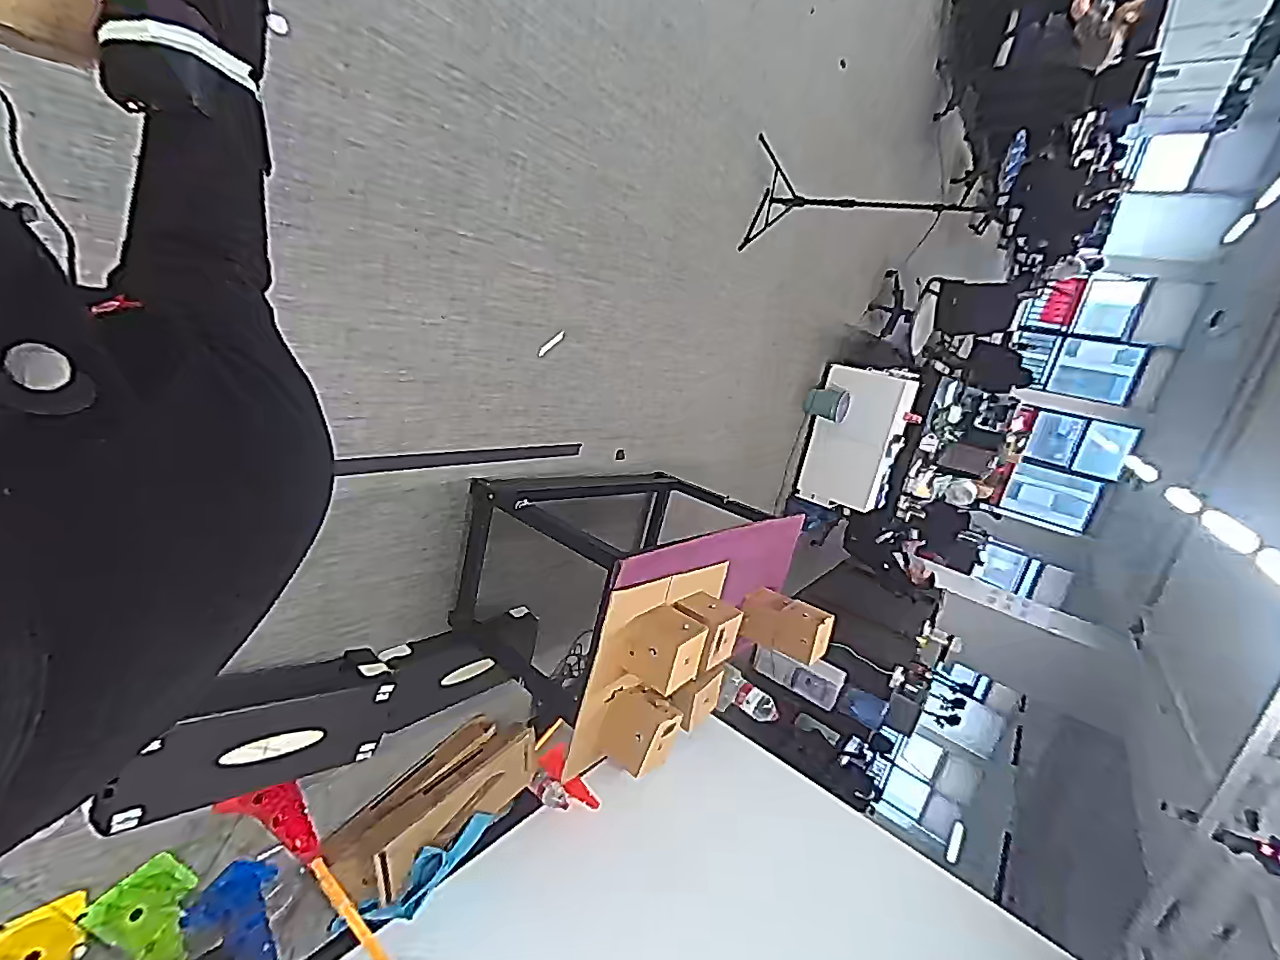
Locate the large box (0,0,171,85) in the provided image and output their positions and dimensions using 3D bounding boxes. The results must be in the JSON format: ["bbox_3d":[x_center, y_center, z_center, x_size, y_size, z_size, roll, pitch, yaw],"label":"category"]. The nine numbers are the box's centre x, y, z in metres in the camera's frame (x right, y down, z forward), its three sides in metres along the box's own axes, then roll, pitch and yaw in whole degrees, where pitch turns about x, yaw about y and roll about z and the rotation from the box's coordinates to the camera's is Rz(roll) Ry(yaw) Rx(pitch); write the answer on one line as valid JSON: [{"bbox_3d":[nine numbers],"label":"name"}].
[{"bbox_3d":[-0.544,-0.470,0.269,0.408,0.320,0.320,-12,126,-55],"label":"large box"}]
